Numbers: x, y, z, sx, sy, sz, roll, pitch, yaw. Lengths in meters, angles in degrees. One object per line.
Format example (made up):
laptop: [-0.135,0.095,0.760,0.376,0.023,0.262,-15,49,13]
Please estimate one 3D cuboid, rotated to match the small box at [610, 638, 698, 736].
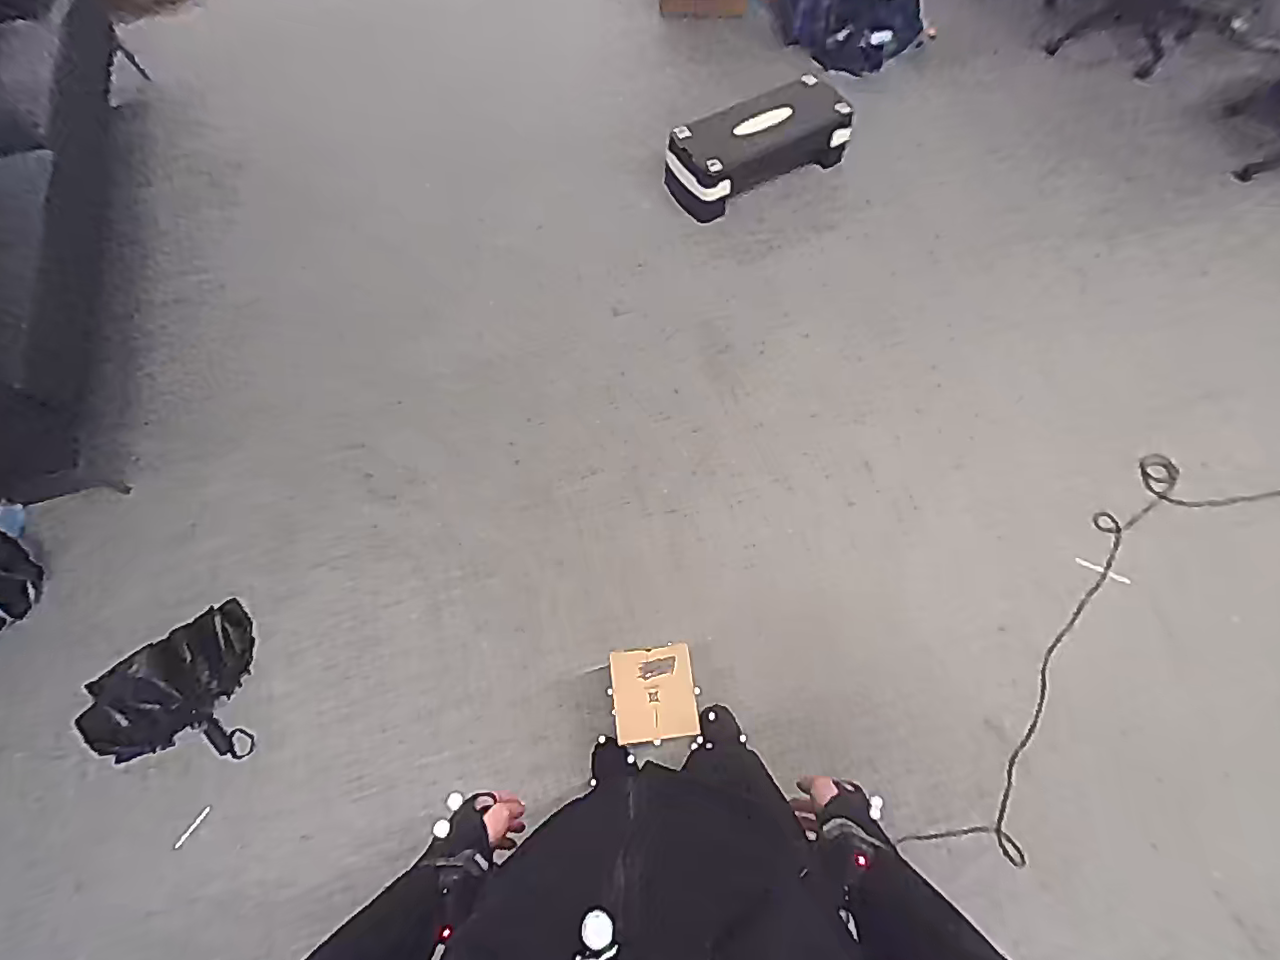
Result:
small box: [0.027,0.445,1.166,0.168,0.176,0.179,-7,69,0]
